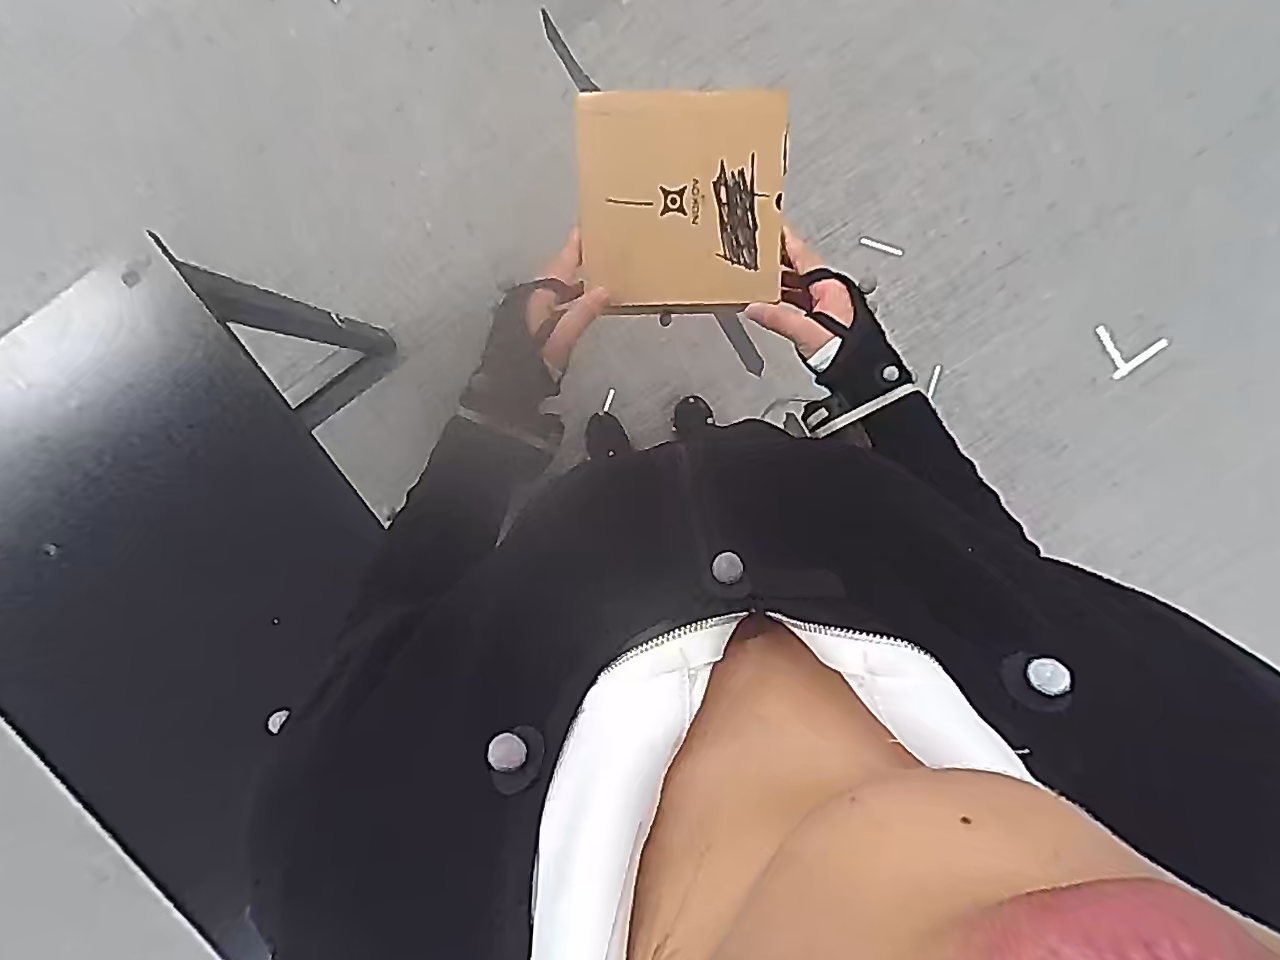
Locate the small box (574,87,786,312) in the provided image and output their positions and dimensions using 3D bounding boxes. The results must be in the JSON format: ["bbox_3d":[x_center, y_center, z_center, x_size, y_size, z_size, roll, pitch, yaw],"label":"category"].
[{"bbox_3d":[0.029,-0.257,0.532,0.179,0.176,0.168,-2,105,-2],"label":"small box"}]
